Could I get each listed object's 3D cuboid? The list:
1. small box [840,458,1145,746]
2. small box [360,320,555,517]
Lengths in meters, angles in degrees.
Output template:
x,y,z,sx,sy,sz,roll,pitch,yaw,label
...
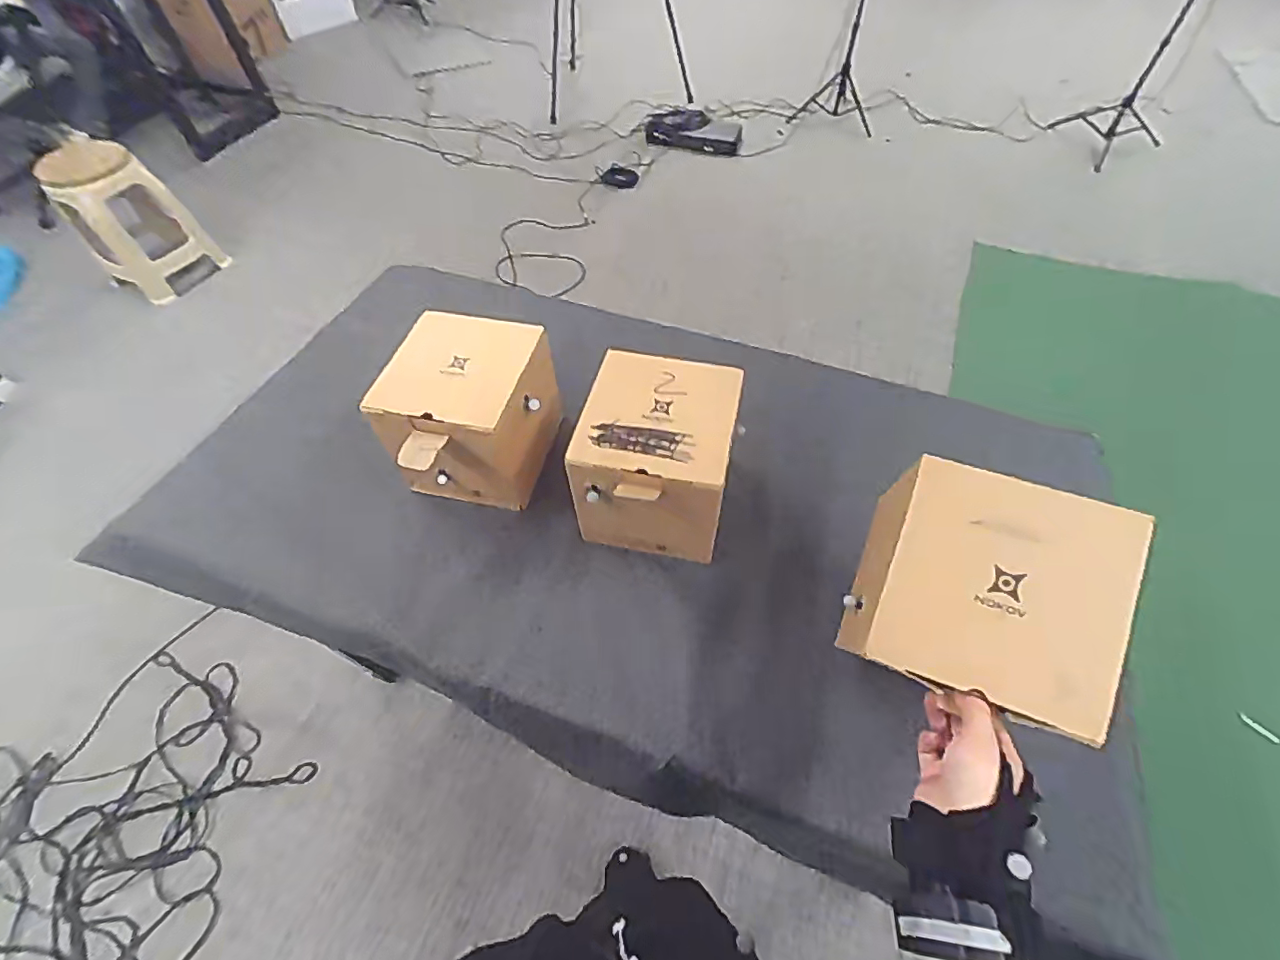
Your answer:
x,y,z,sx,sy,sz,roll,pitch,yaw,label
0.292,0.105,0.489,0.168,0.176,0.179,18,79,15,small box
-0.216,-0.077,0.703,0.168,0.176,0.179,10,56,8,small box
